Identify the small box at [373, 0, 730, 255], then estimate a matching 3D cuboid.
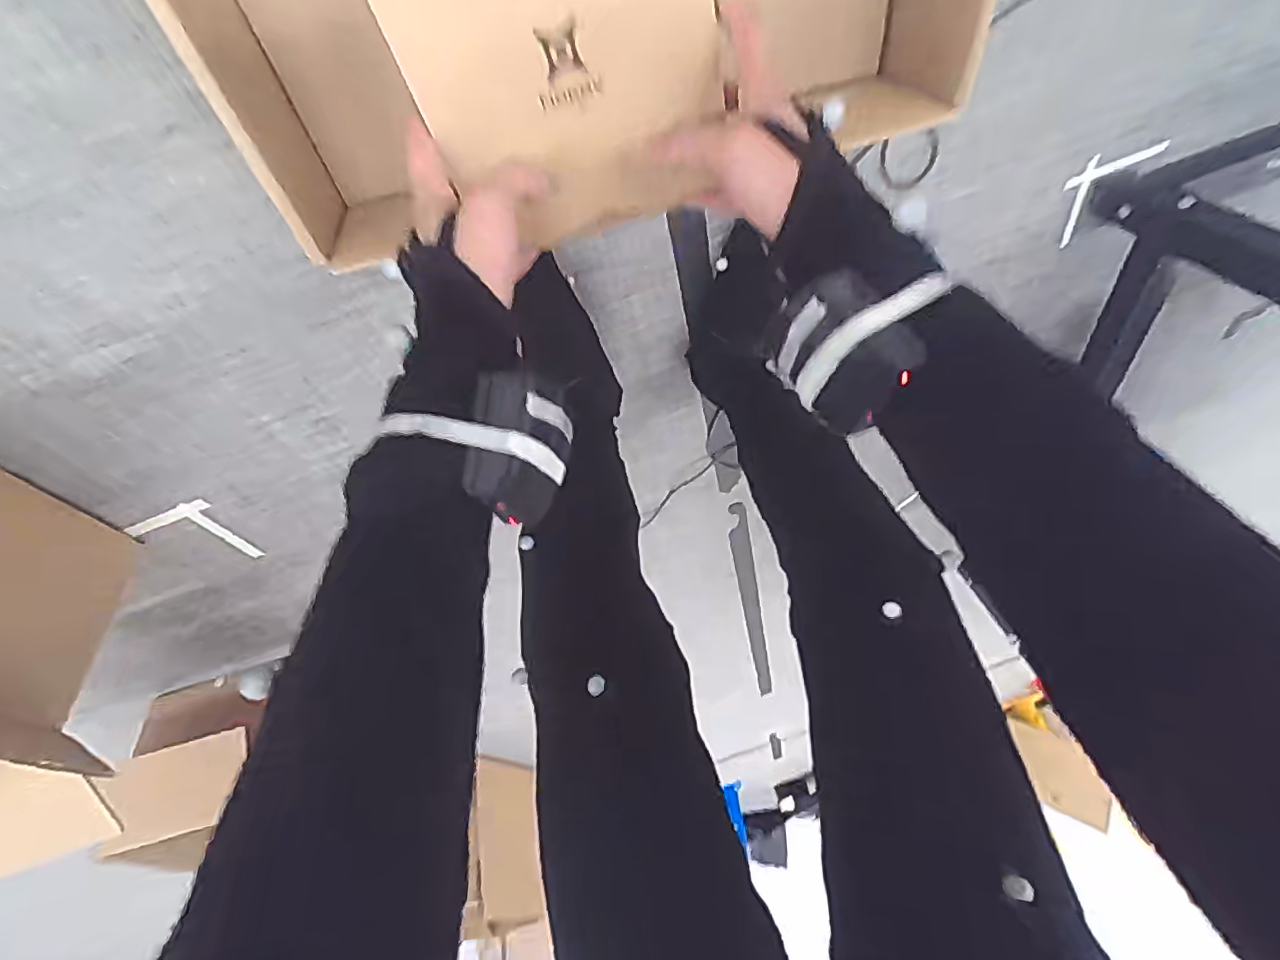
[{"bbox_3d":[-0.049,-0.278,0.334,0.168,0.176,0.179,-15,140,4],"label":"small box"}]
